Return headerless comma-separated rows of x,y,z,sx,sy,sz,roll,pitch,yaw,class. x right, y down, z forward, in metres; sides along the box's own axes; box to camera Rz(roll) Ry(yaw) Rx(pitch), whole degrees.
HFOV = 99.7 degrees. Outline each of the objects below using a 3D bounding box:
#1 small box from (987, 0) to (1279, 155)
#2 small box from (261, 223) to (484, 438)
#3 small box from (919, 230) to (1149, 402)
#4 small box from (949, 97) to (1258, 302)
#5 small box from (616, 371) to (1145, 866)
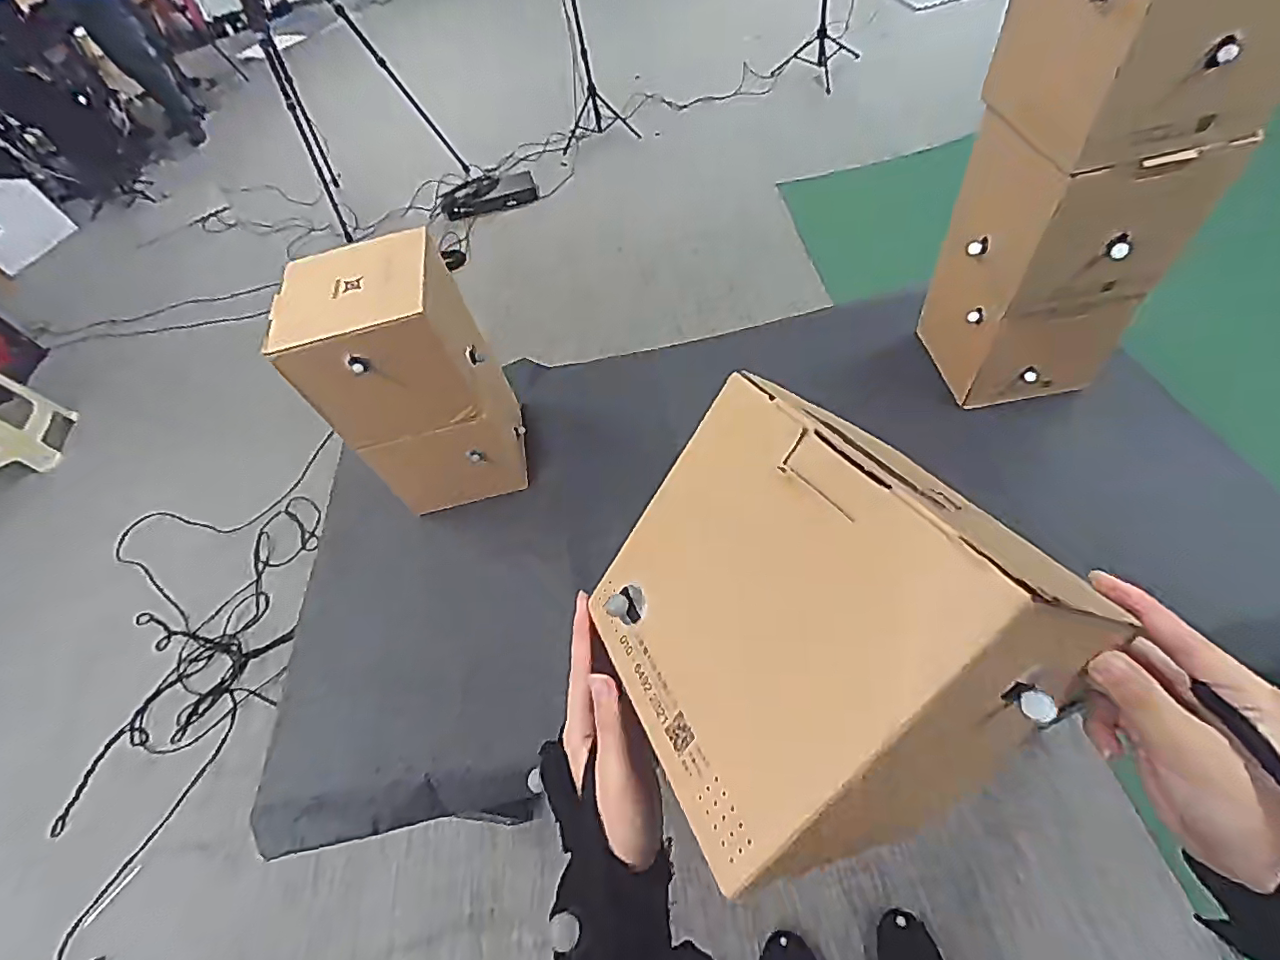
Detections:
0.444,-0.408,0.465,0.168,0.176,0.179,-11,55,4,small box
-0.307,-0.174,0.660,0.179,0.176,0.168,-14,57,0,small box
0.509,-0.234,0.737,0.168,0.176,0.179,-10,56,5,small box
0.479,-0.319,0.601,0.168,0.176,0.179,-10,56,5,small box
0.107,0.071,0.296,0.176,0.179,0.168,-58,40,19,small box
